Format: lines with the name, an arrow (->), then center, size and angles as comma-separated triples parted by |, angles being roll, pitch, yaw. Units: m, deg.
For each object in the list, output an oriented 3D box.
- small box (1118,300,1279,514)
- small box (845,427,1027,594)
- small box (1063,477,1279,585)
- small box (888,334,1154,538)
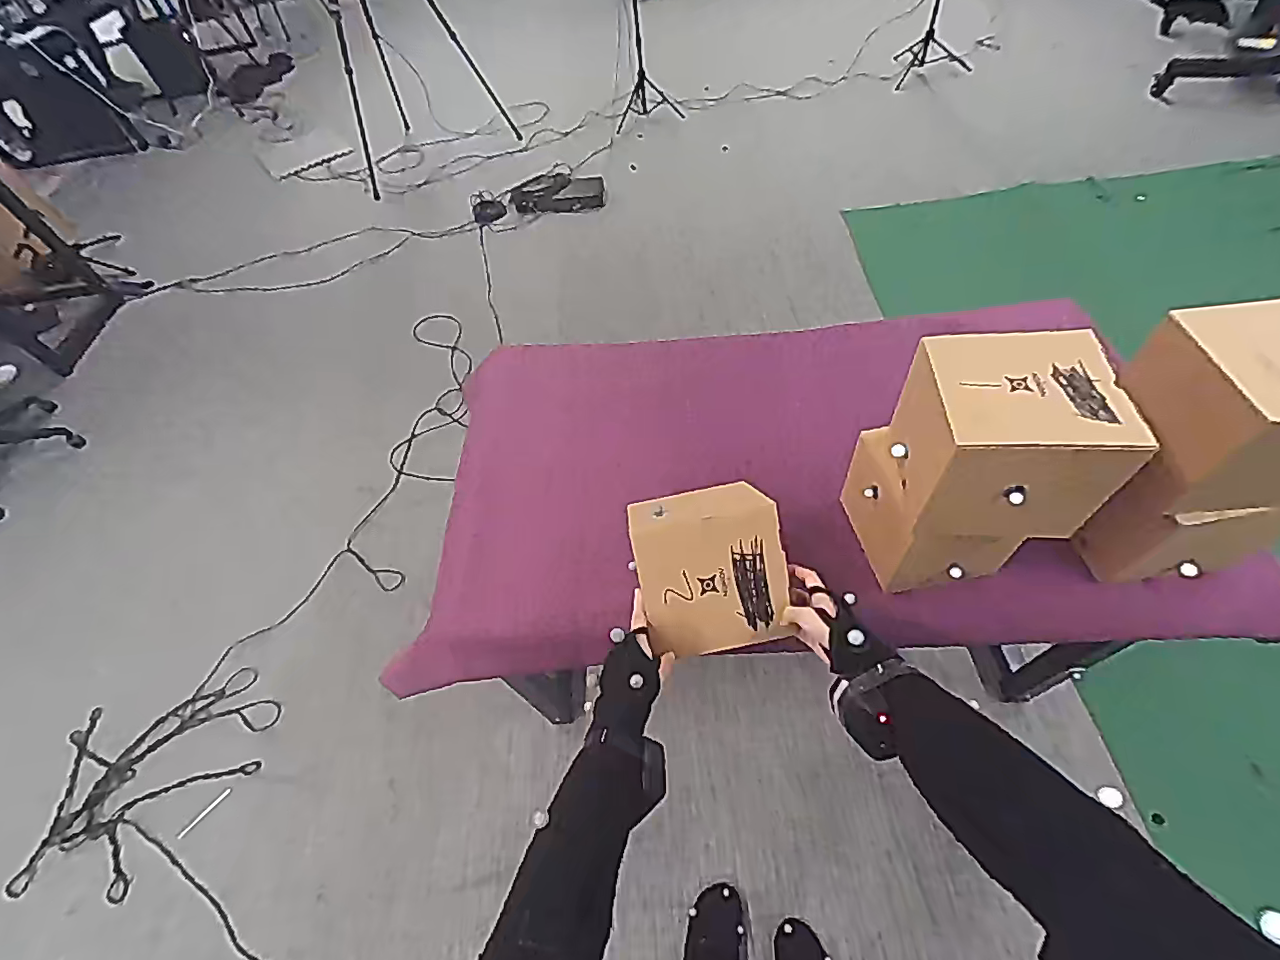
small box -> 0.670, -0.076, 0.598 | 0.179, 0.176, 0.168 | -5, 54, 6
small box -> 0.407, 0.036, 0.761 | 0.168, 0.176, 0.179 | -11, 53, 1
small box -> 0.702, 0.024, 0.723 | 0.179, 0.176, 0.168 | -9, 53, 3
small box -> 0.403, -0.045, 0.615 | 0.179, 0.176, 0.168 | 0, 53, 10
